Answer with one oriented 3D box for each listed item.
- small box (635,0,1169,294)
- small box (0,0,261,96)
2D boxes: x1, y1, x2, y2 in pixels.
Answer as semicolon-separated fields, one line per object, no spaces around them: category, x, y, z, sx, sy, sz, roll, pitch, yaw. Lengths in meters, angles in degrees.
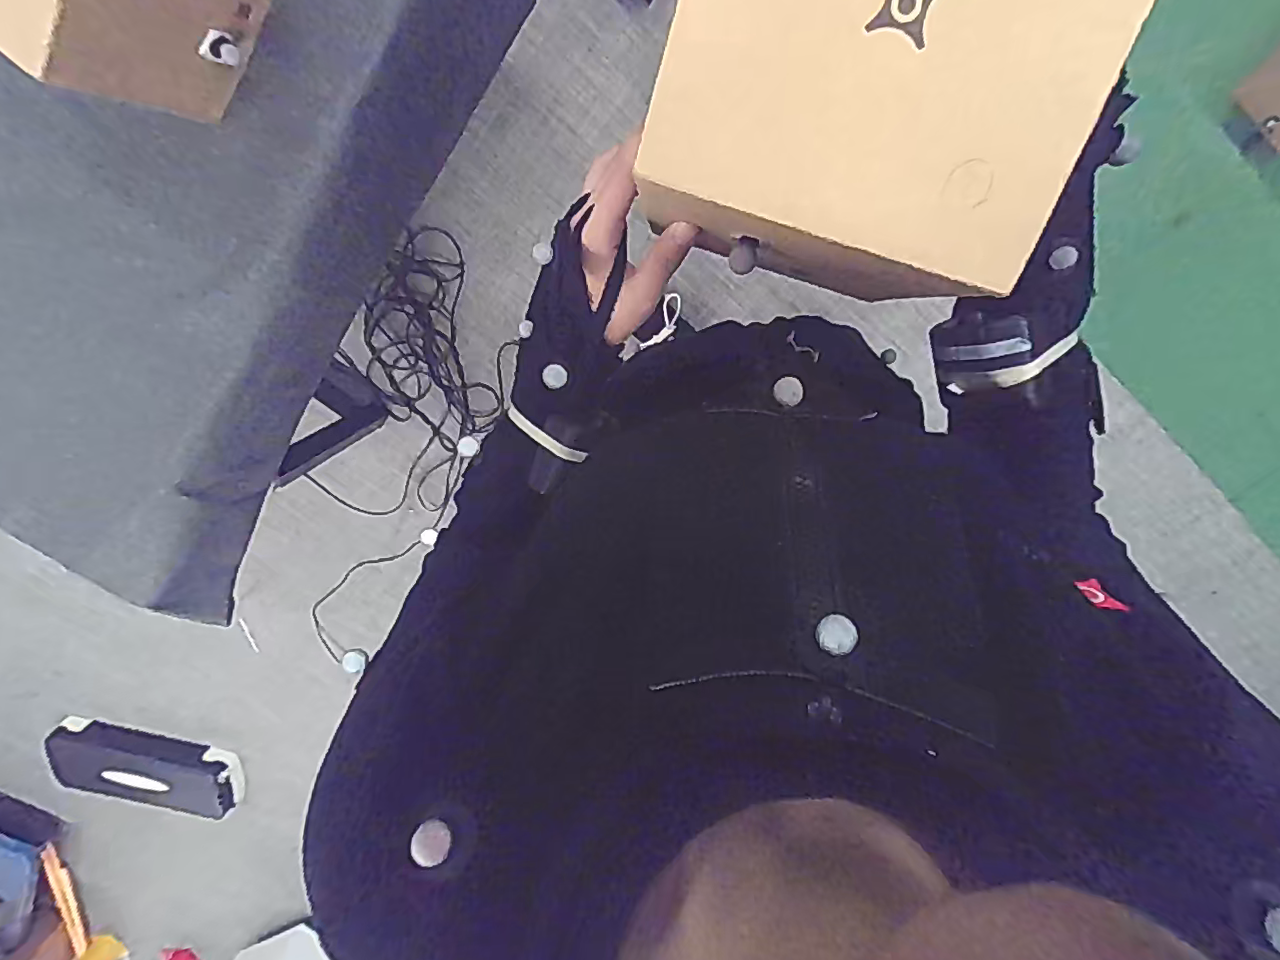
small box;0.107;-0.201;0.266;0.168;0.176;0.179;18;107;-1
small box;-0.422;-0.425;0.394;0.179;0.176;0.168;39;113;-13
